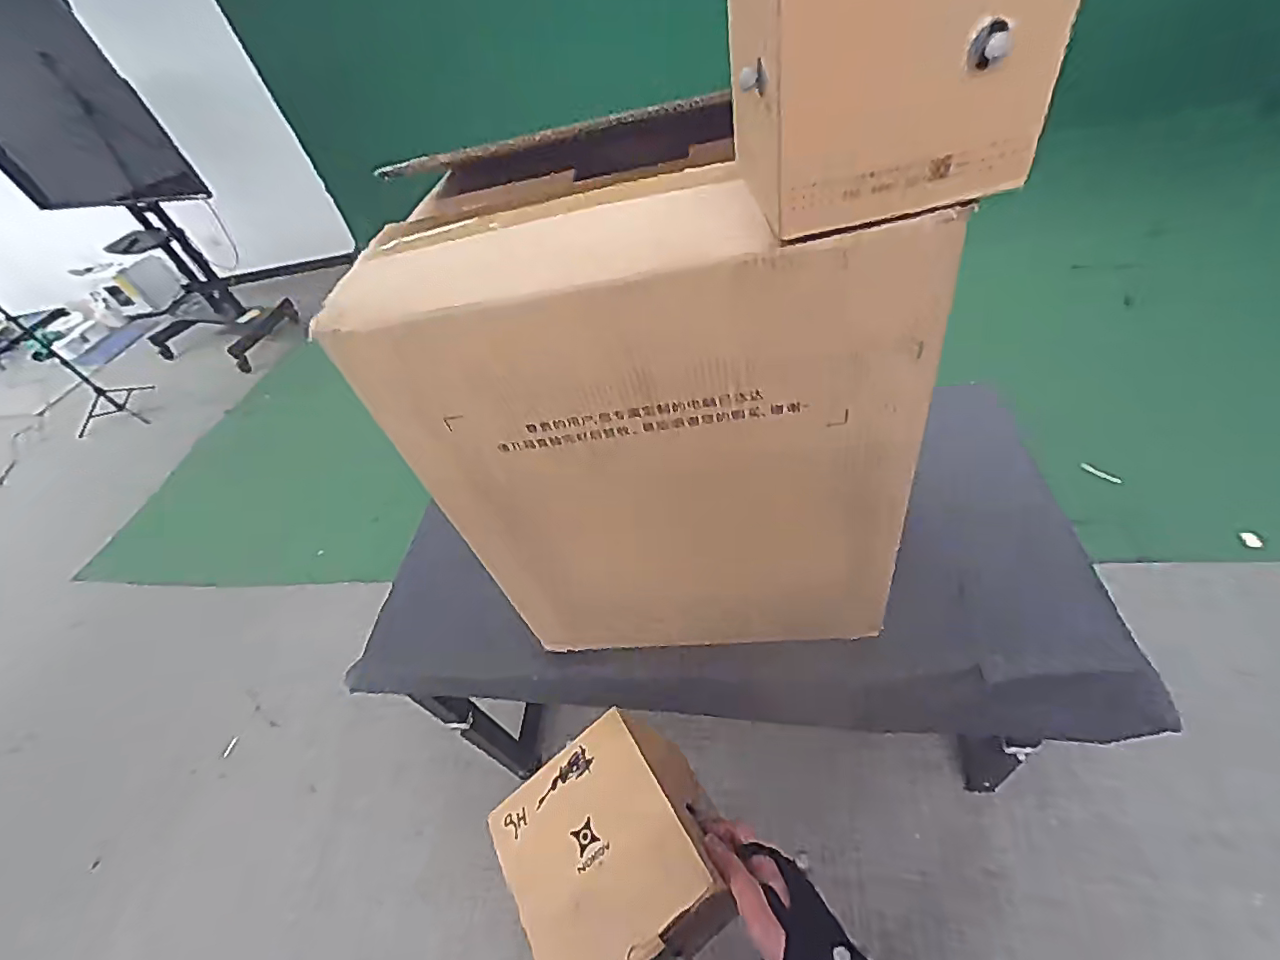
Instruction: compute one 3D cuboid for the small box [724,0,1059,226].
[{"bbox_3d":[0.155,-0.293,0.372,0.168,0.176,0.179,-9,46,5],"label":"small box"}]
